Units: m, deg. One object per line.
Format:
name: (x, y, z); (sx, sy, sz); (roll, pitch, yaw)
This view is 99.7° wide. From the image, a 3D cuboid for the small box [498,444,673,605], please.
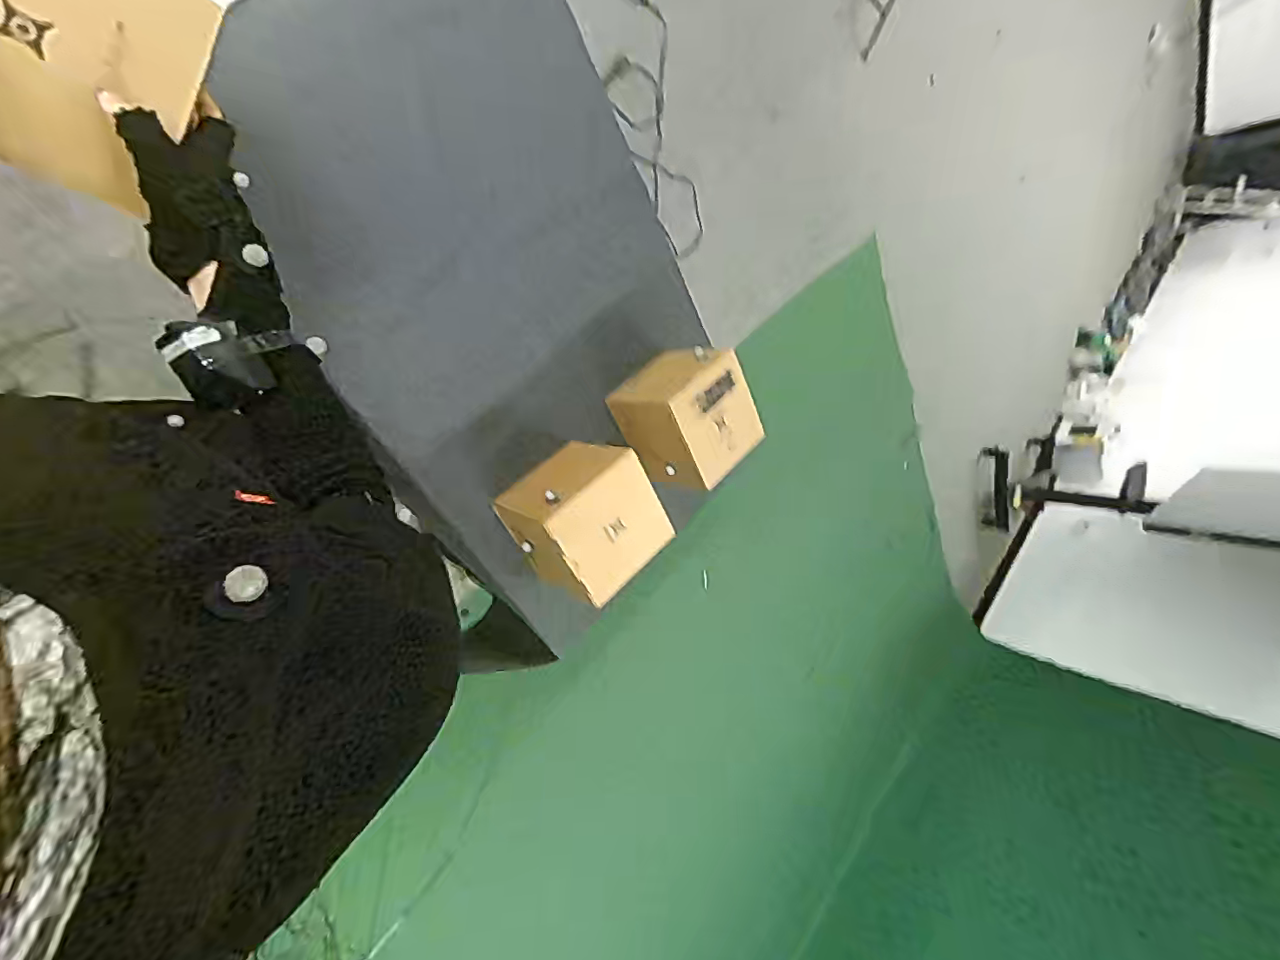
small box: (-0.086, 0.057, 0.842); (0.179, 0.176, 0.168); (-42, 121, -27)
